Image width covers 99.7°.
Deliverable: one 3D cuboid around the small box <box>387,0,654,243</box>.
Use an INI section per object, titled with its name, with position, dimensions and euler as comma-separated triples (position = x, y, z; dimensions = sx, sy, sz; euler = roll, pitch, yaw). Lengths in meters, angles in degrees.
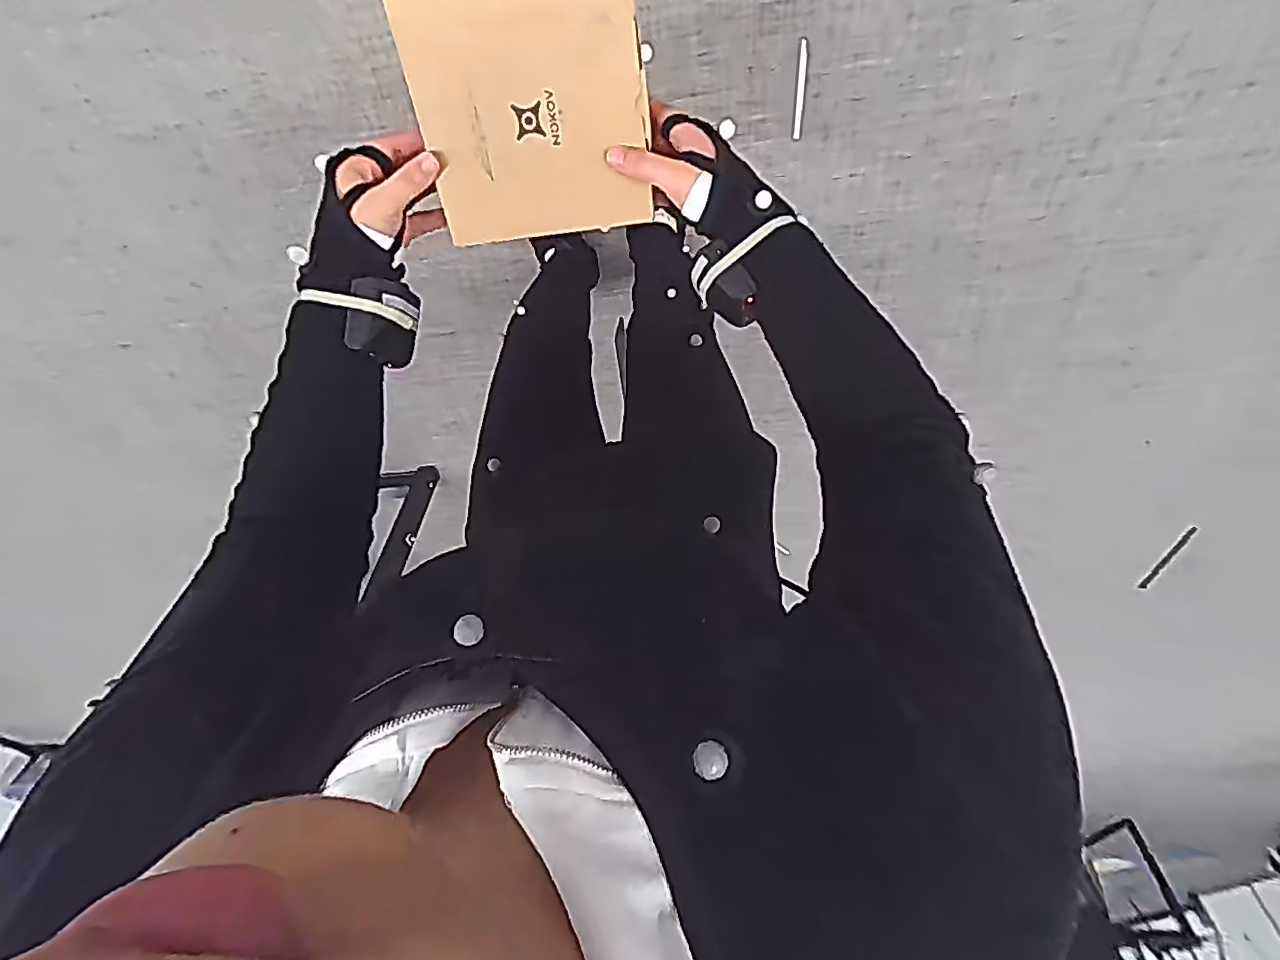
[small box]
position = -0.088, -0.325, 0.486
dimensions = 0.179, 0.176, 0.168
euler = -8, 123, 2
